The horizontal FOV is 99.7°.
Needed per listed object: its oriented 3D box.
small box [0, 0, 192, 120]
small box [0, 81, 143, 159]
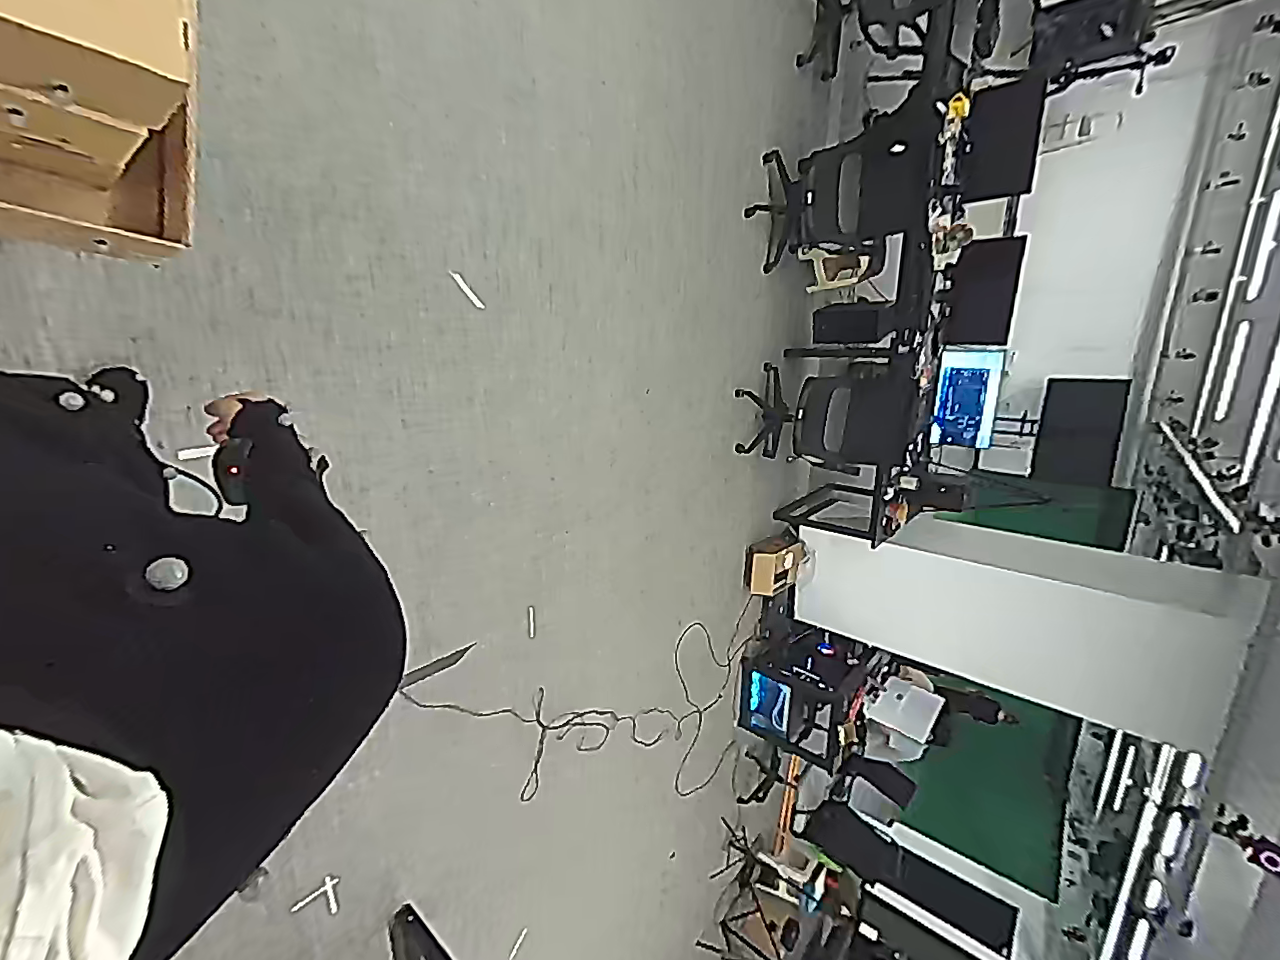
[{"bbox_3d":[-0.578,-0.487,0.531,0.179,0.176,0.168,-8,104,-50],"label":"small box"},{"bbox_3d":[-0.706,-0.508,0.631,0.168,0.176,0.179,-5,102,-50],"label":"small box"}]
